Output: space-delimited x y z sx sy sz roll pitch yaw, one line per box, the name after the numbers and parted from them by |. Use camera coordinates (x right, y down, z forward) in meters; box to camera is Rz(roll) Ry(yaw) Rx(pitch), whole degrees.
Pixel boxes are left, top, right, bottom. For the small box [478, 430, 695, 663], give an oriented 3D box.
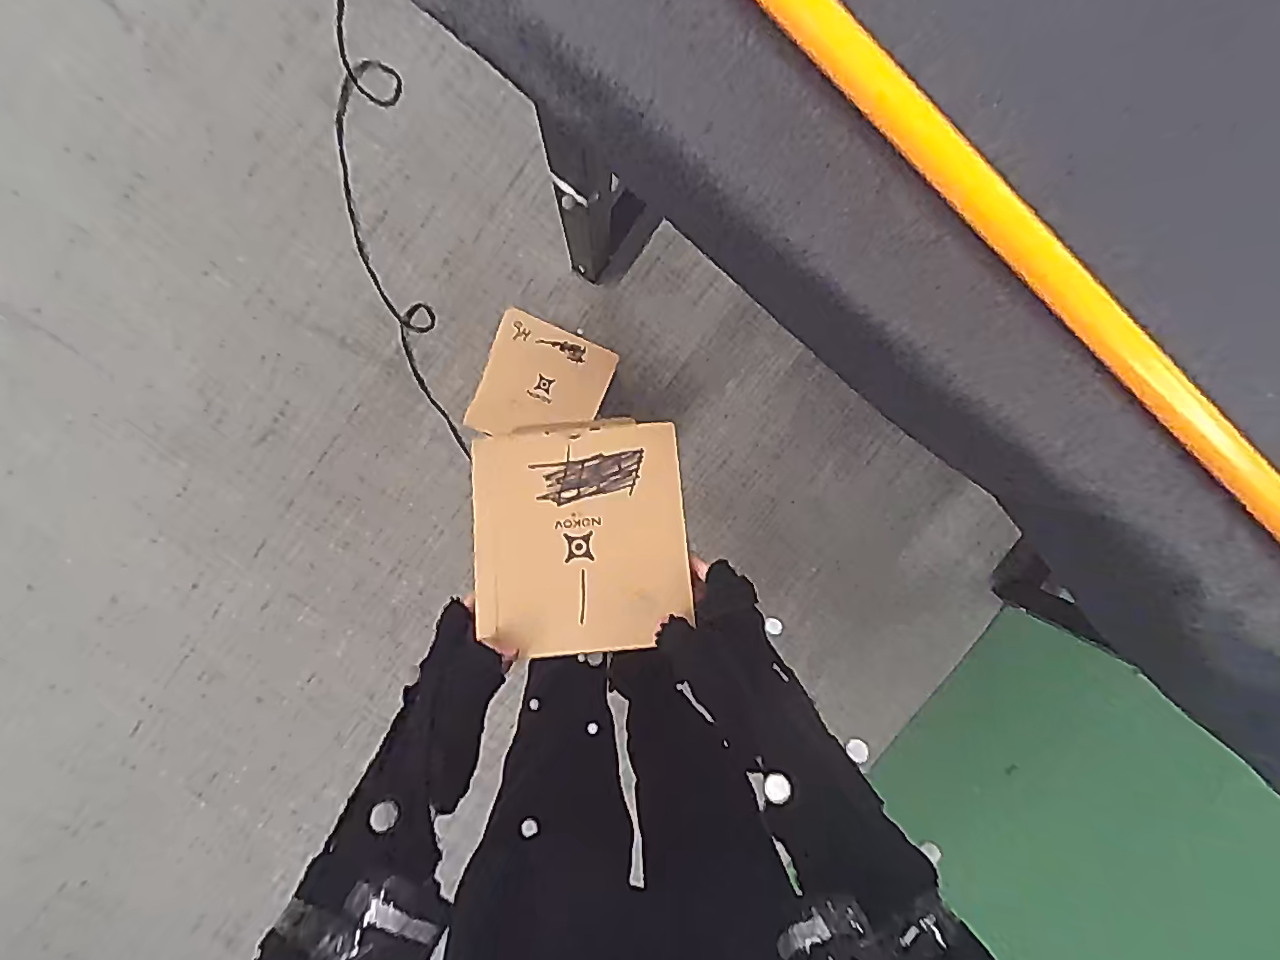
-0.044 0.067 0.502 0.168 0.176 0.179 -5 76 0 | small box

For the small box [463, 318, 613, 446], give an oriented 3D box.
-0.142 -0.121 0.821 0.168 0.176 0.179 20 96 -5 | small box
